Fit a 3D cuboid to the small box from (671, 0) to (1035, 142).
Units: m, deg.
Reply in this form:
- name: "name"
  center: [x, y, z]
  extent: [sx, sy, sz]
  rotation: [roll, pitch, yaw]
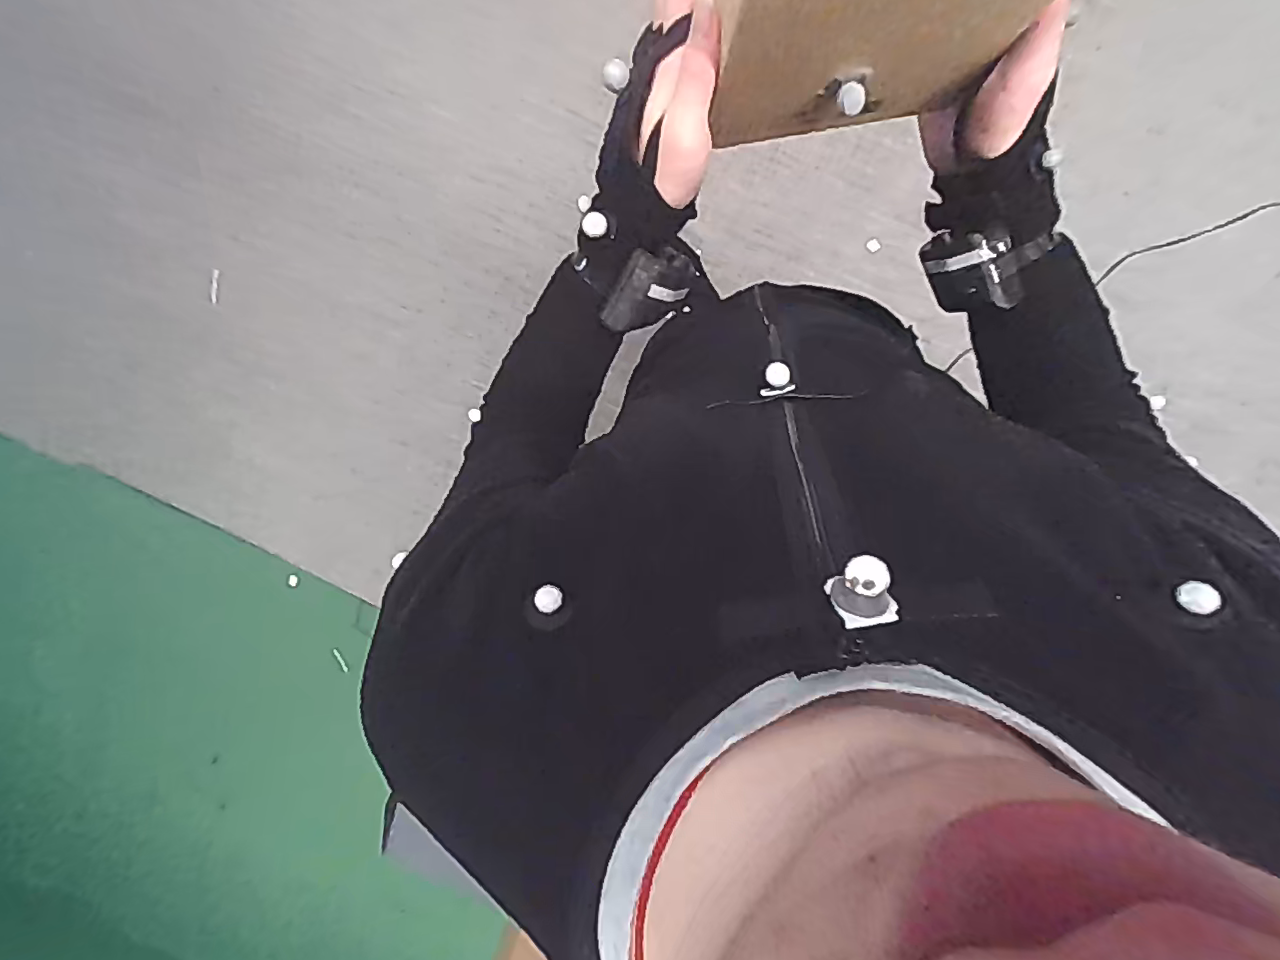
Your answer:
- name: "small box"
  center: [0.100, -0.303, 0.255]
  extent: [0.168, 0.176, 0.179]
  rotation: [-10, 95, -1]
